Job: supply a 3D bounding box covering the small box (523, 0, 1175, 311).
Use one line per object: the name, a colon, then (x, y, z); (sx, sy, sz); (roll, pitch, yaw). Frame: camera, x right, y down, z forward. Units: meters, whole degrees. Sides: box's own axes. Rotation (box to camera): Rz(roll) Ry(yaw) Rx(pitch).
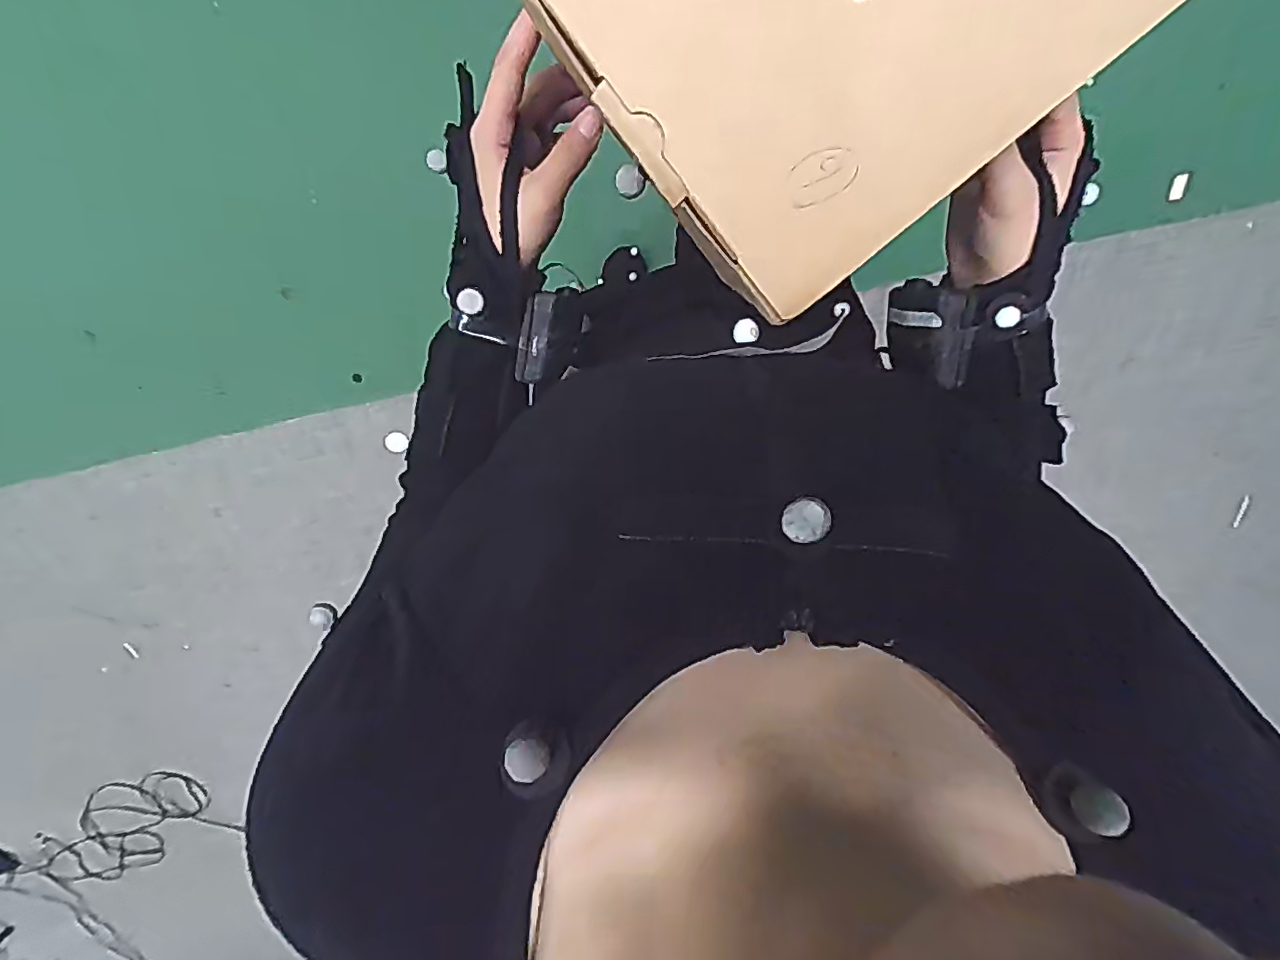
small box: (0.067, -0.203, 0.231); (0.179, 0.176, 0.168); (-37, 109, 18)
